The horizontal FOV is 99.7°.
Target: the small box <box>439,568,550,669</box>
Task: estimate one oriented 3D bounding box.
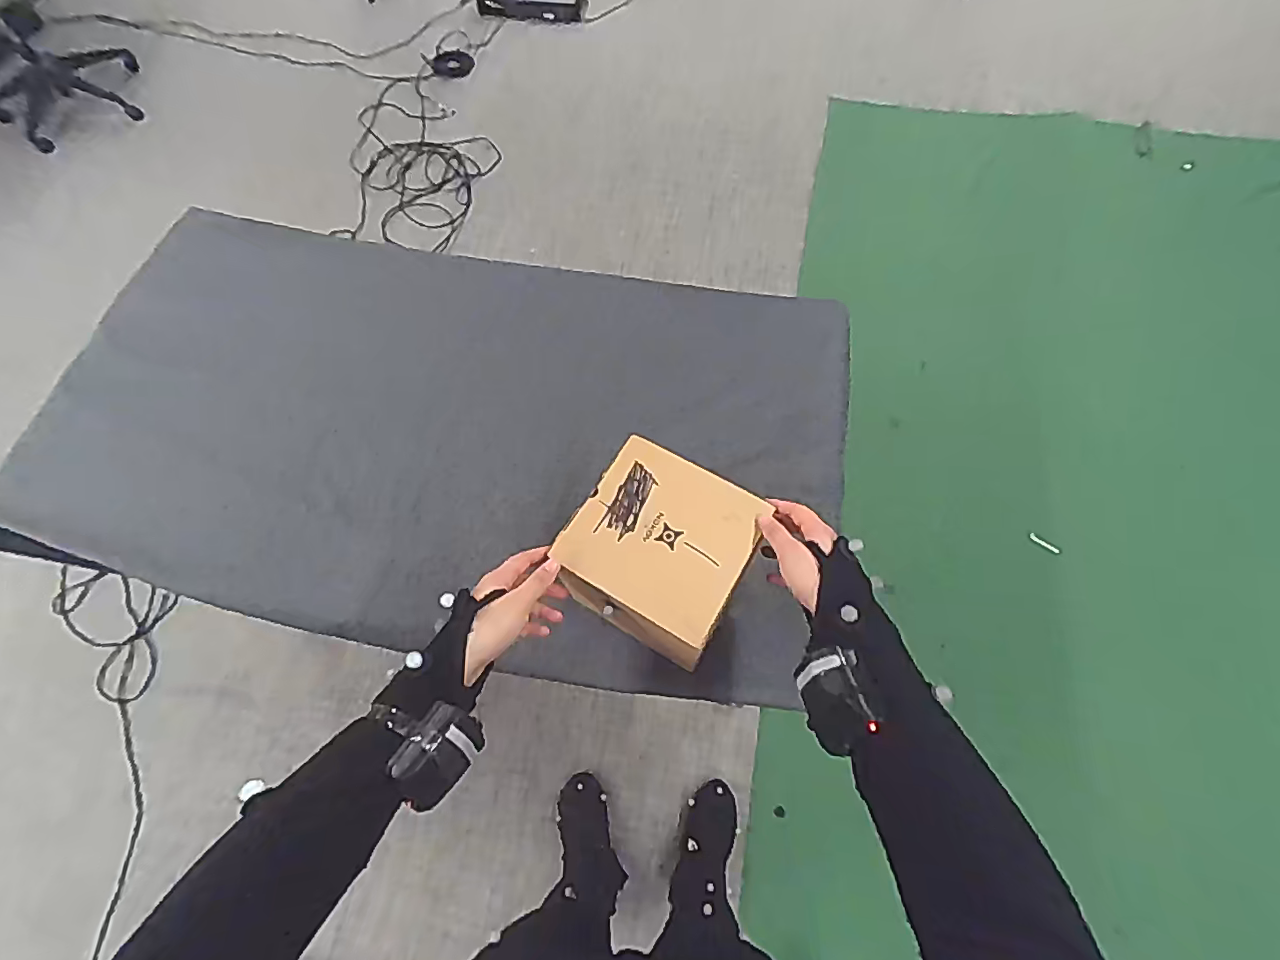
[{"bbox_3d":[-0.344,0.344,1.319,0.179,0.176,0.168,28,70,15],"label":"small box"}]

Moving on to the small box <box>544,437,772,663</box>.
[{"bbox_3d":[0.023,0.088,0.610,0.179,0.176,0.168,28,69,16],"label":"small box"}]
